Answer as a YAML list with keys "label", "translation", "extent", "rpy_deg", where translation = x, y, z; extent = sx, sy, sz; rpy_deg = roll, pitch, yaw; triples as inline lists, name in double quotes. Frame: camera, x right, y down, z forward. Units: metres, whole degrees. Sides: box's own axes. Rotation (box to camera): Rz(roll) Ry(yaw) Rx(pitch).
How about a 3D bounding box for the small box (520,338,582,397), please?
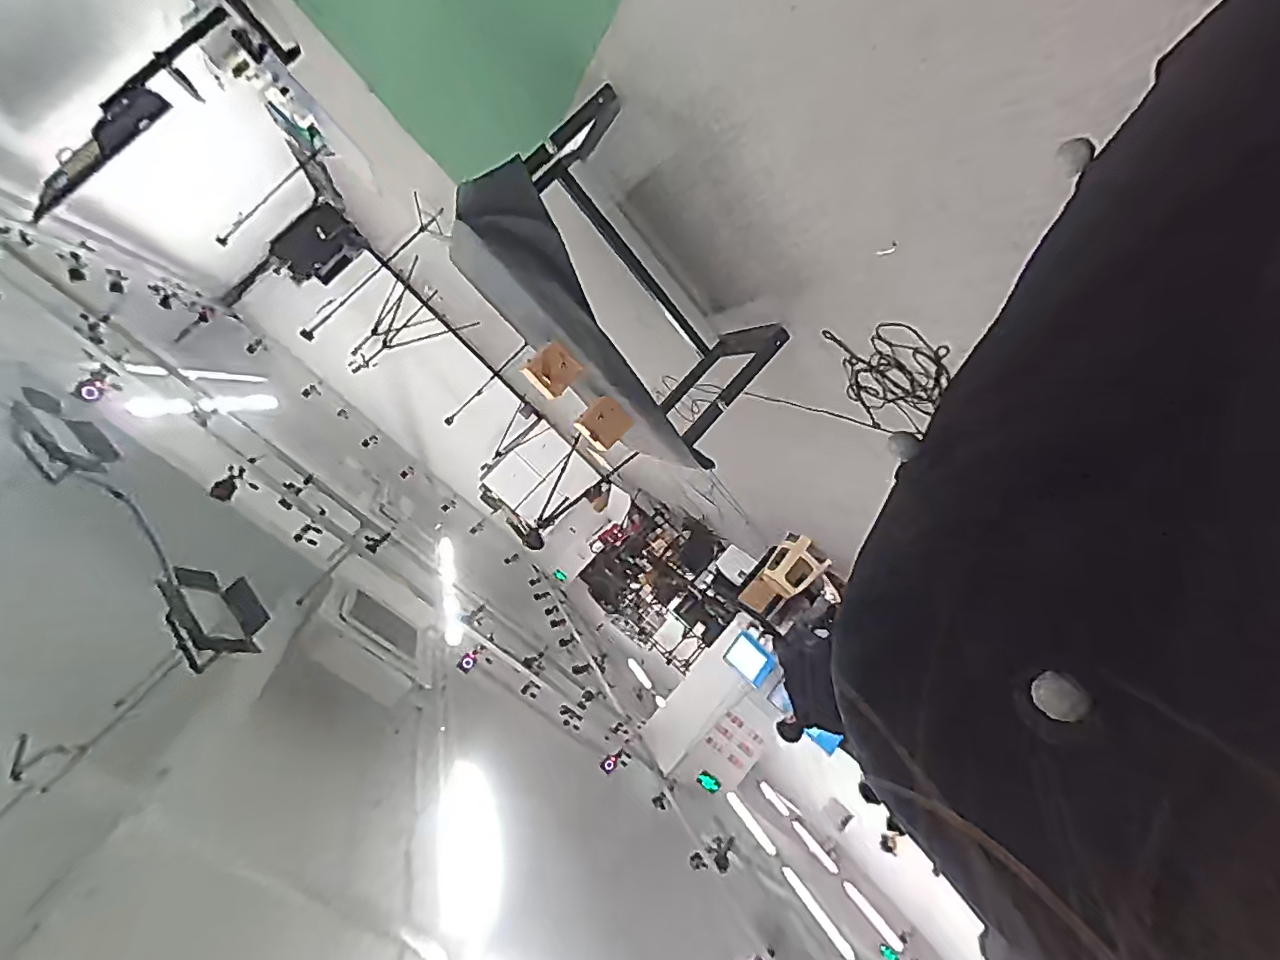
- label: "small box"
  translation: [-0.360, -0.457, 2.203]
  extent: [0.168, 0.176, 0.179]
  rpy_deg: [47, 171, -21]

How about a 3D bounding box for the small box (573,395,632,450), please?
- label: "small box"
  translation: [-0.157, -0.248, 2.305]
  extent: [0.168, 0.176, 0.179]
  rpy_deg: [47, 172, -15]
